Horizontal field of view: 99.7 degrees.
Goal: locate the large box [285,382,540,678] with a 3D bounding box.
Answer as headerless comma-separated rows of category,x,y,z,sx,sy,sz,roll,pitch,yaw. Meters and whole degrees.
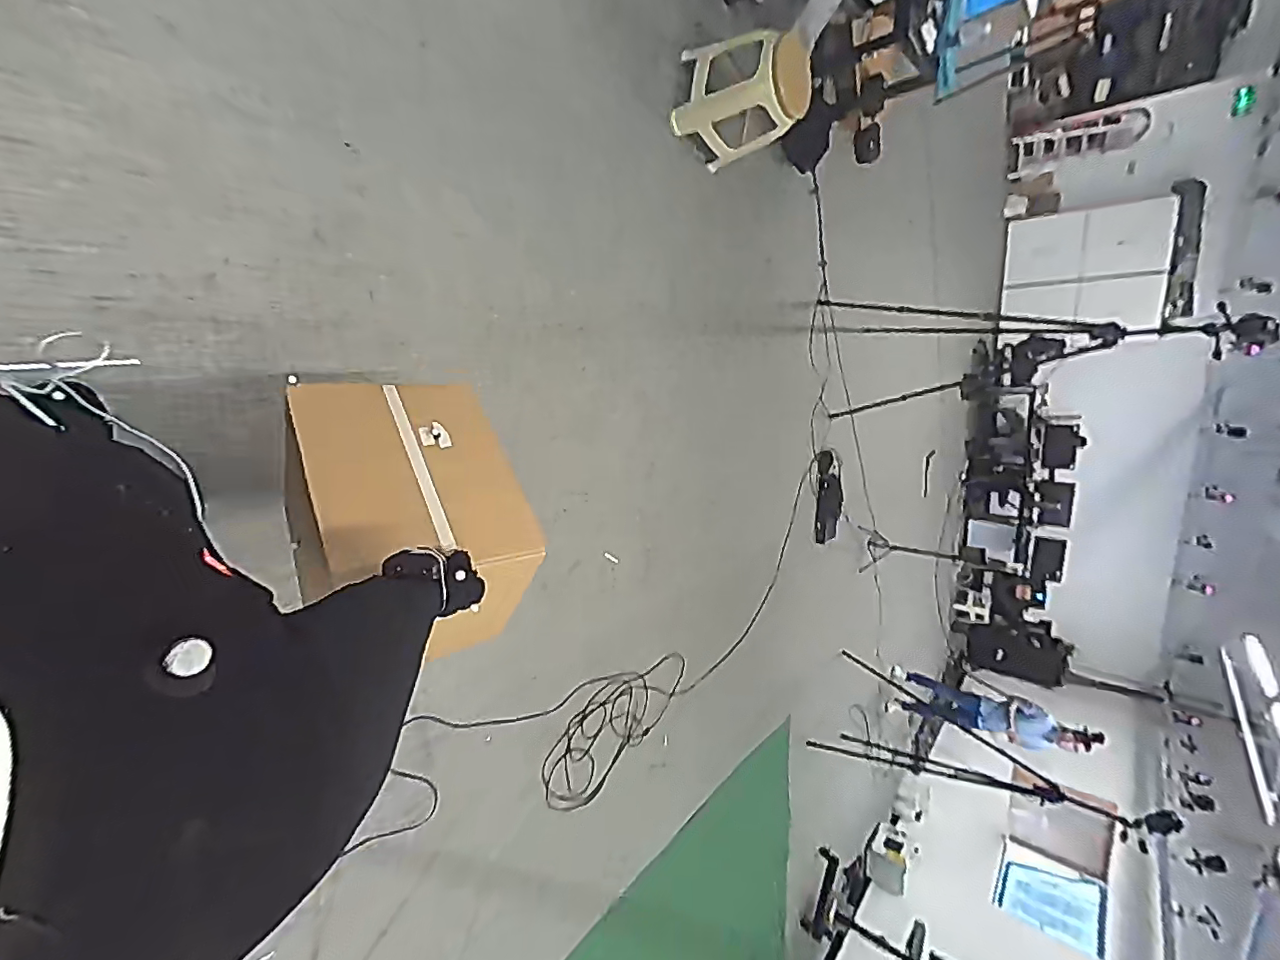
large box,-0.436,0.073,0.986,0.320,0.408,0.320,-6,142,-39
